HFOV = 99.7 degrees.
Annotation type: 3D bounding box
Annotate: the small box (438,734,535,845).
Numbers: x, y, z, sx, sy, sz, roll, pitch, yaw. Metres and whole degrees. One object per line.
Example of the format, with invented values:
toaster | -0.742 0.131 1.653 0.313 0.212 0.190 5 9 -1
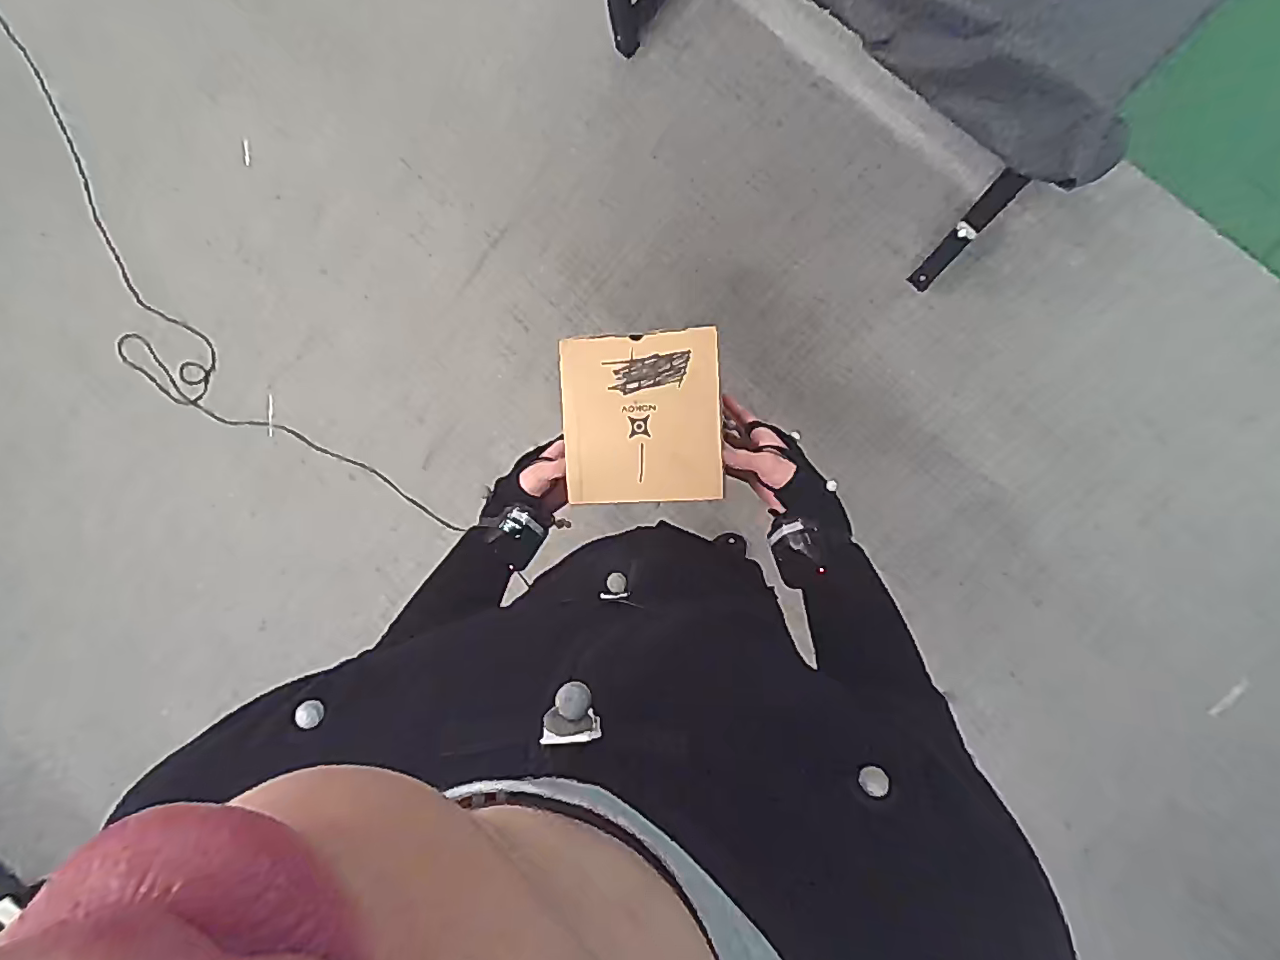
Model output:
small box | -0.423 0.862 1.523 0.168 0.176 0.179 40 91 5
